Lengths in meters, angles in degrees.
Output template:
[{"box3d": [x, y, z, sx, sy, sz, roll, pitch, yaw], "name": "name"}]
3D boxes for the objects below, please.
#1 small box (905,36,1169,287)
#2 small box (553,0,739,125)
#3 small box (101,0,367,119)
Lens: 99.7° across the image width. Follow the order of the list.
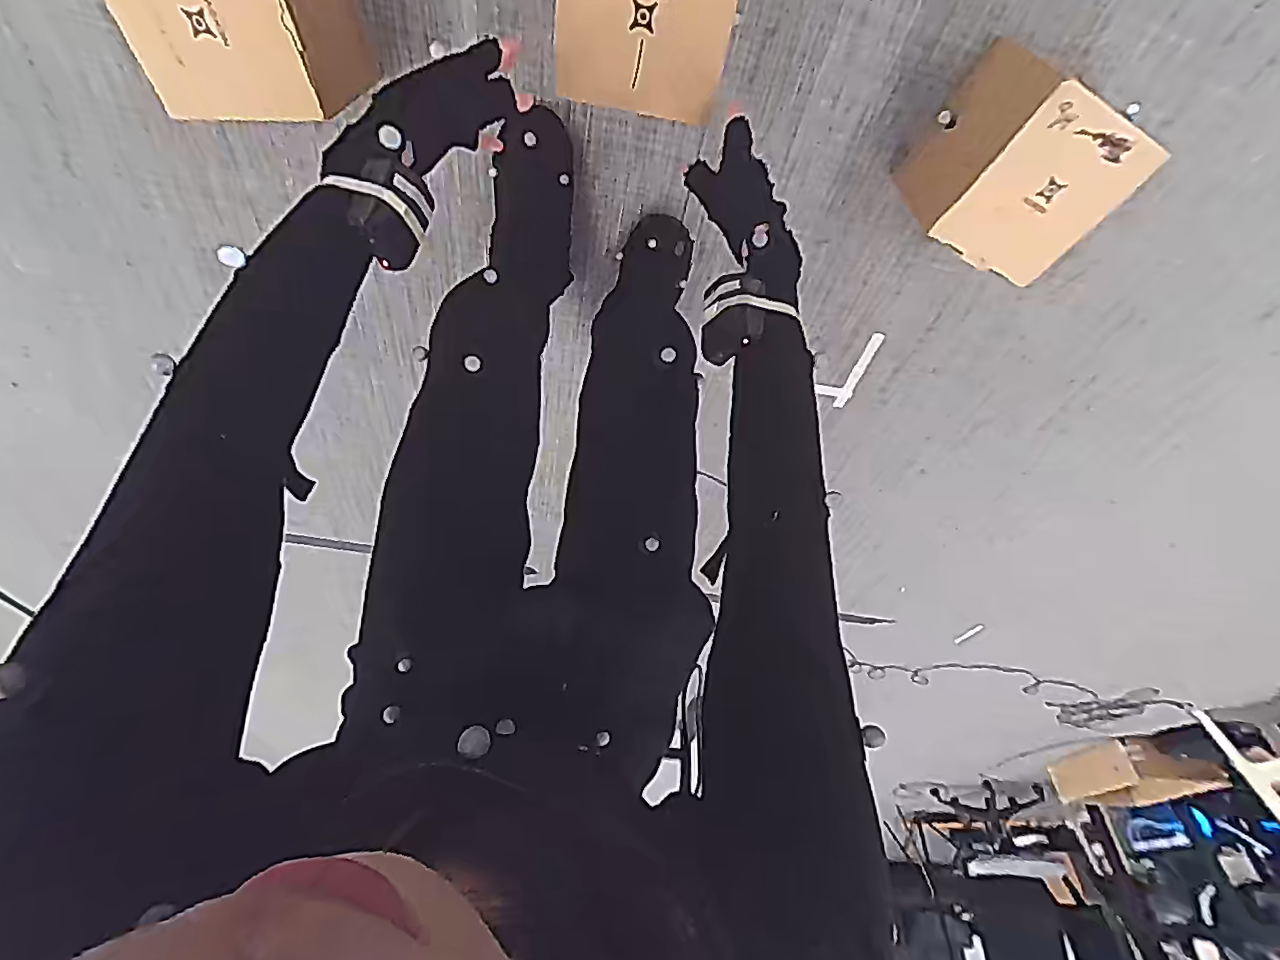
[{"box3d": [0.449, -0.377, 0.649, 0.168, 0.176, 0.179, 18, 138, -18], "name": "small box"}, {"box3d": [0.009, -0.494, 0.537, 0.168, 0.176, 0.179, 8, 141, -5], "name": "small box"}, {"box3d": [-0.414, -0.499, 0.565, 0.179, 0.176, 0.168, 2, 138, 3], "name": "small box"}]
